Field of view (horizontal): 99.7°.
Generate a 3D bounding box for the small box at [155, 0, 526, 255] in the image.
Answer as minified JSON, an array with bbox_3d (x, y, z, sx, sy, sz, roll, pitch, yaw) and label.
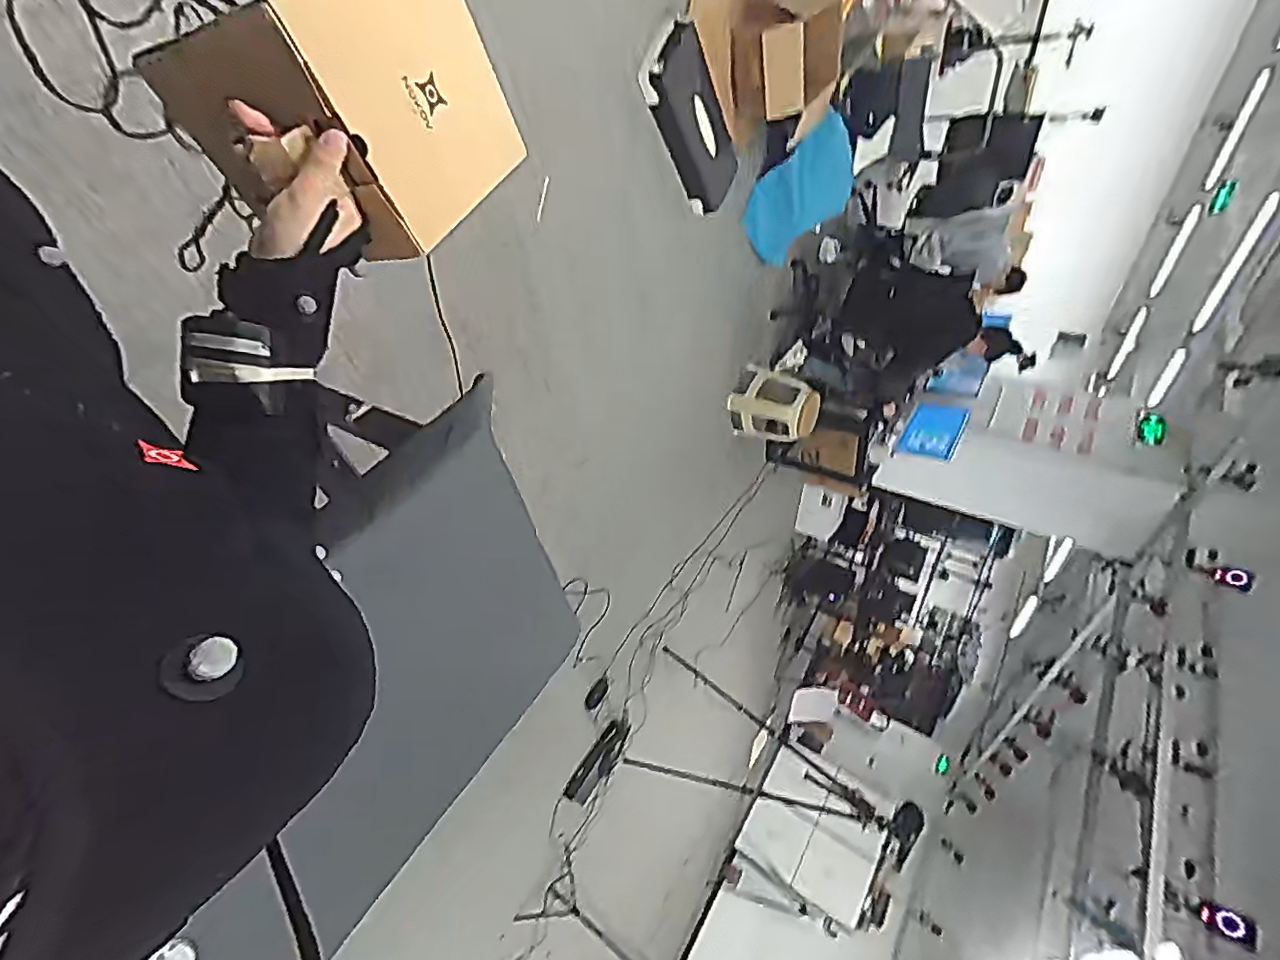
[{"bbox_3d":[-0.233,-0.310,0.450,0.179,0.176,0.168,-65,149,-29],"label":"small box"}]
